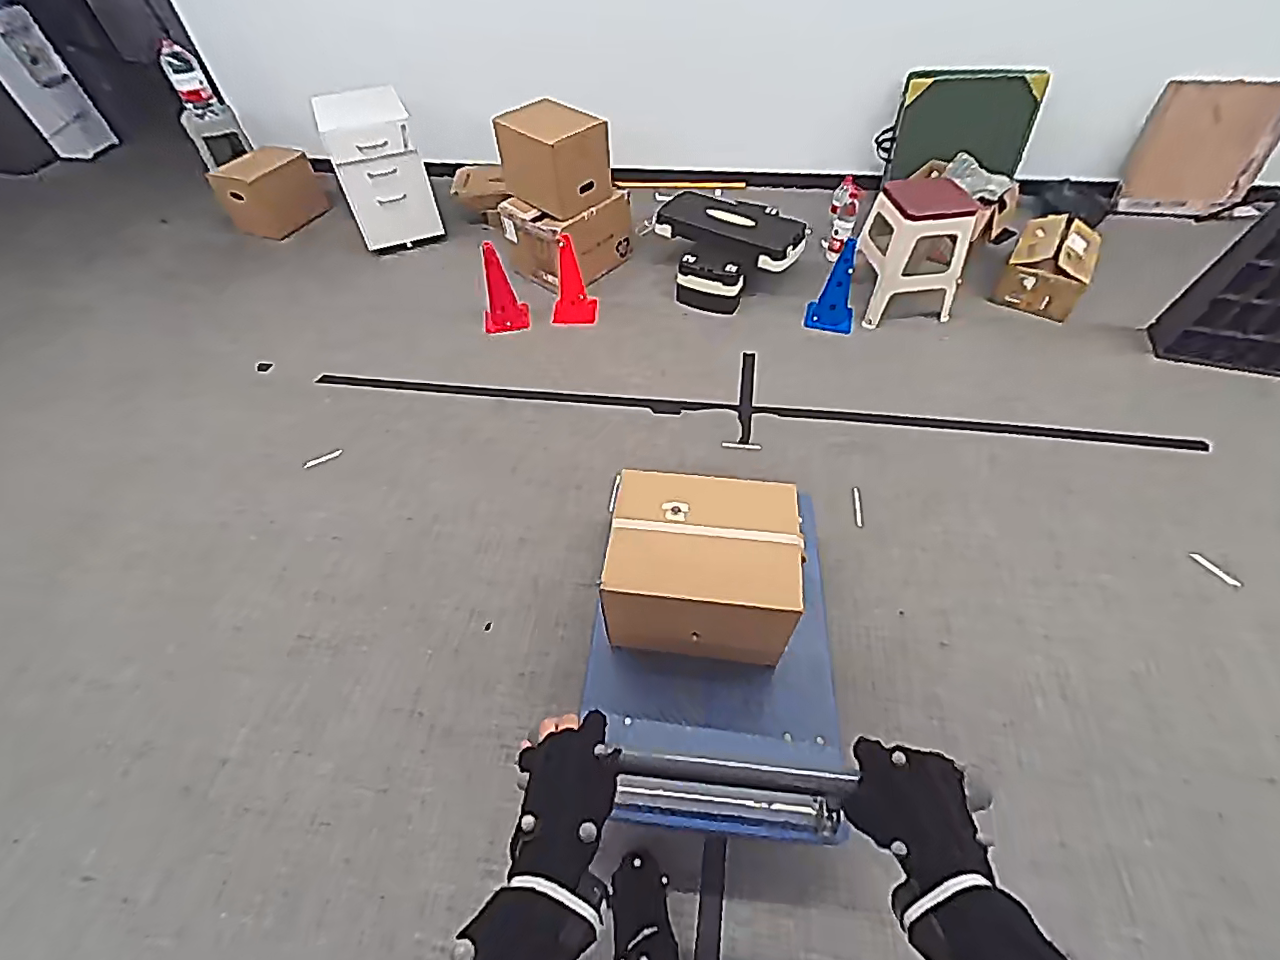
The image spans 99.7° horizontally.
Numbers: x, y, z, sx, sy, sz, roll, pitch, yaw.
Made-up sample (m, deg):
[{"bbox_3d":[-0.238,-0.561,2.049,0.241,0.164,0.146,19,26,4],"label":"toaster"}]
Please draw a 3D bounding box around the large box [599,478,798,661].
[{"bbox_3d":[0.138,0.217,1.284,0.408,0.320,0.320,4,53,7],"label":"large box"}]
